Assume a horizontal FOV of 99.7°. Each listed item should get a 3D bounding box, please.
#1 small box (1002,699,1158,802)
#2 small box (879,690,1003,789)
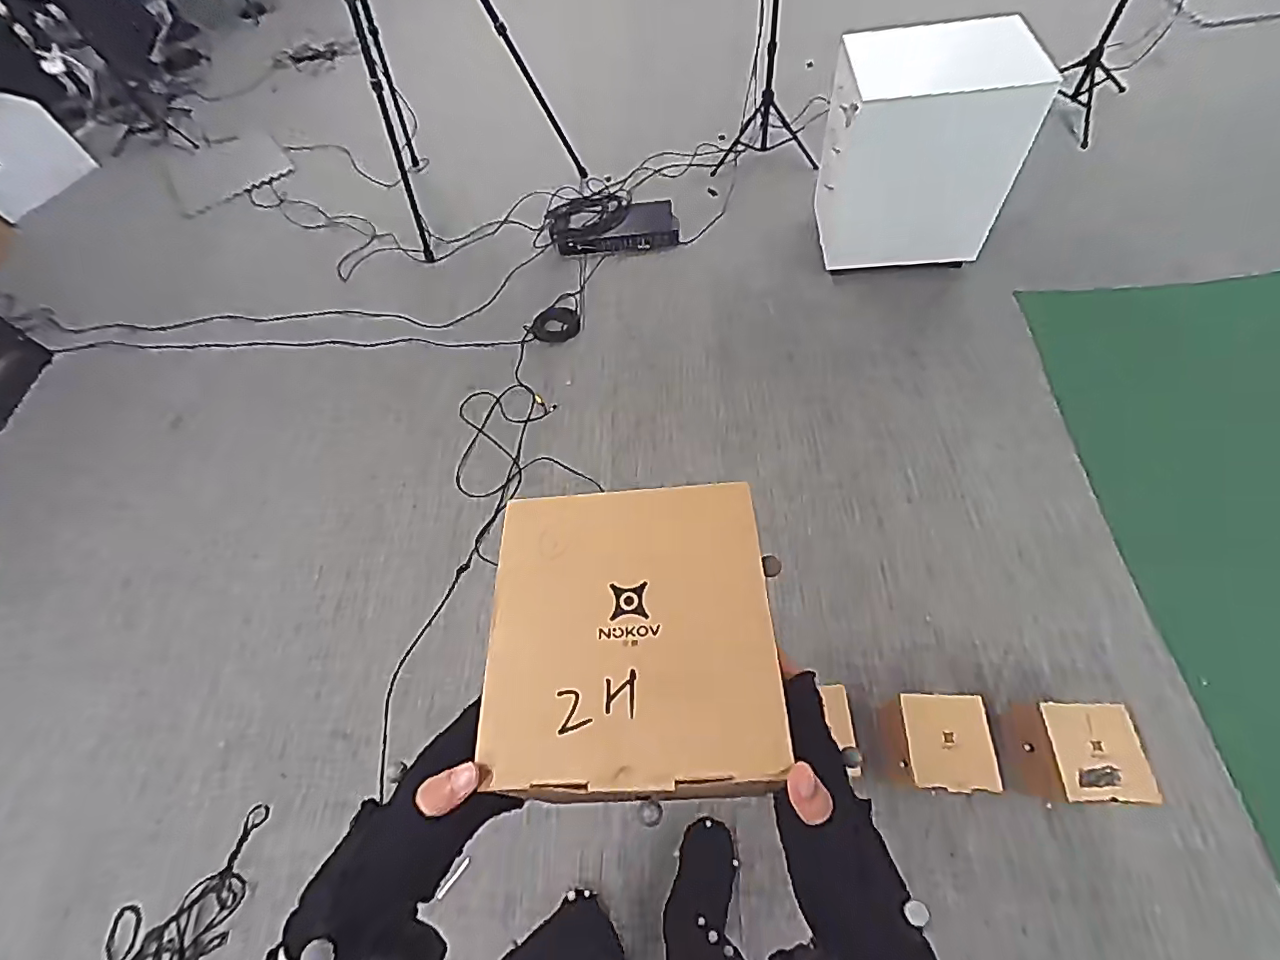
[{"bbox_3d":[0.895,0.562,1.122,0.168,0.176,0.179,-1,60,6],"label":"small box"},{"bbox_3d":[0.629,0.557,1.157,0.168,0.176,0.179,-1,61,6],"label":"small box"}]
